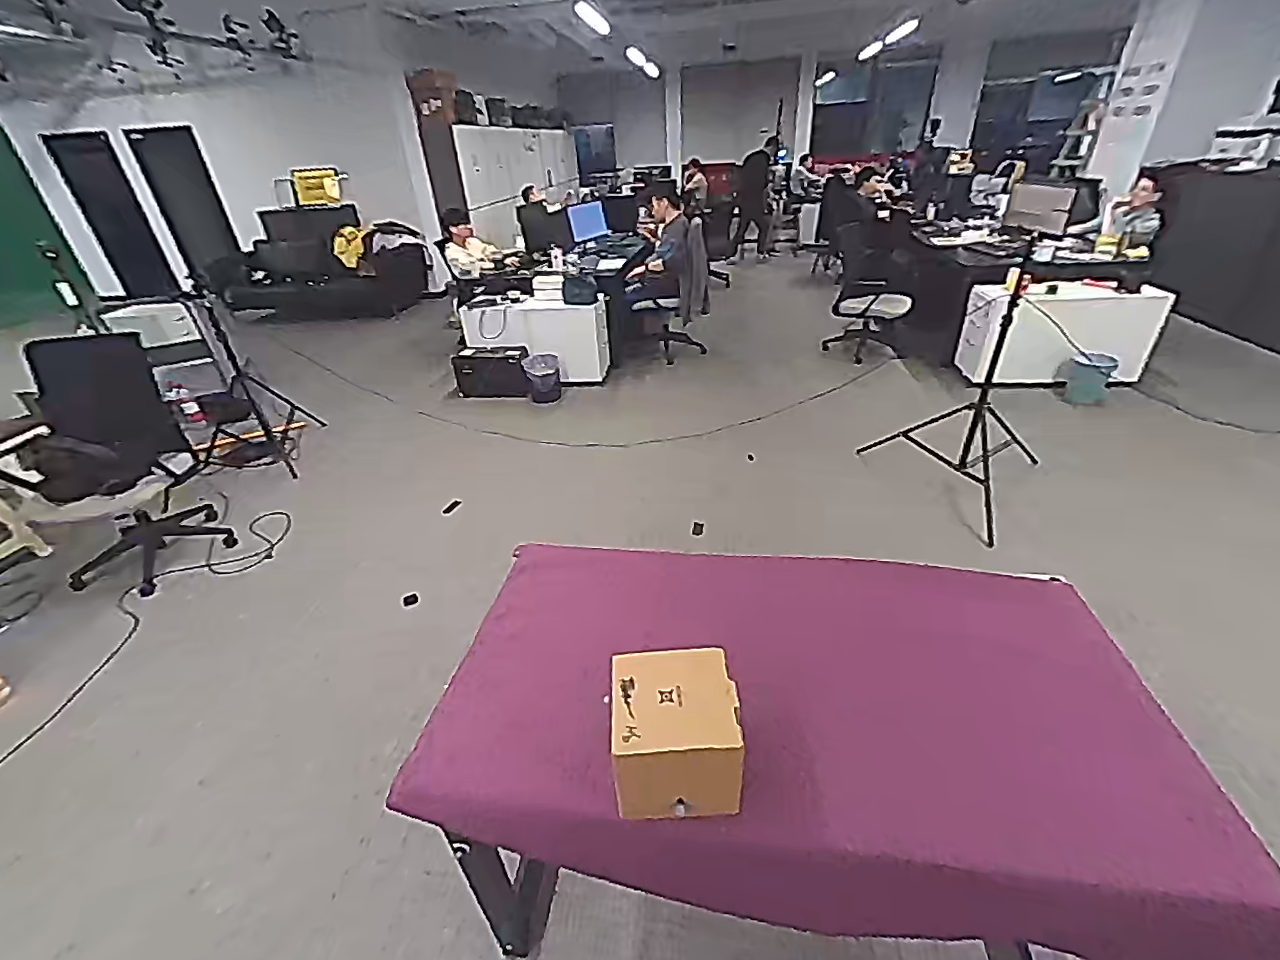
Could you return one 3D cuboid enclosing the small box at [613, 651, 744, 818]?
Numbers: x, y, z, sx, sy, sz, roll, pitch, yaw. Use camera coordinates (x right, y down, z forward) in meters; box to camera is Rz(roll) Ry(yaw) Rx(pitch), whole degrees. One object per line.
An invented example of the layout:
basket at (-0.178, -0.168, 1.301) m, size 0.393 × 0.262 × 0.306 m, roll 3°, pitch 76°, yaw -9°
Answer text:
small box at (0.051, 0.381, 0.815) m, size 0.179 × 0.176 × 0.168 m, roll -3°, pitch 31°, yaw 0°
